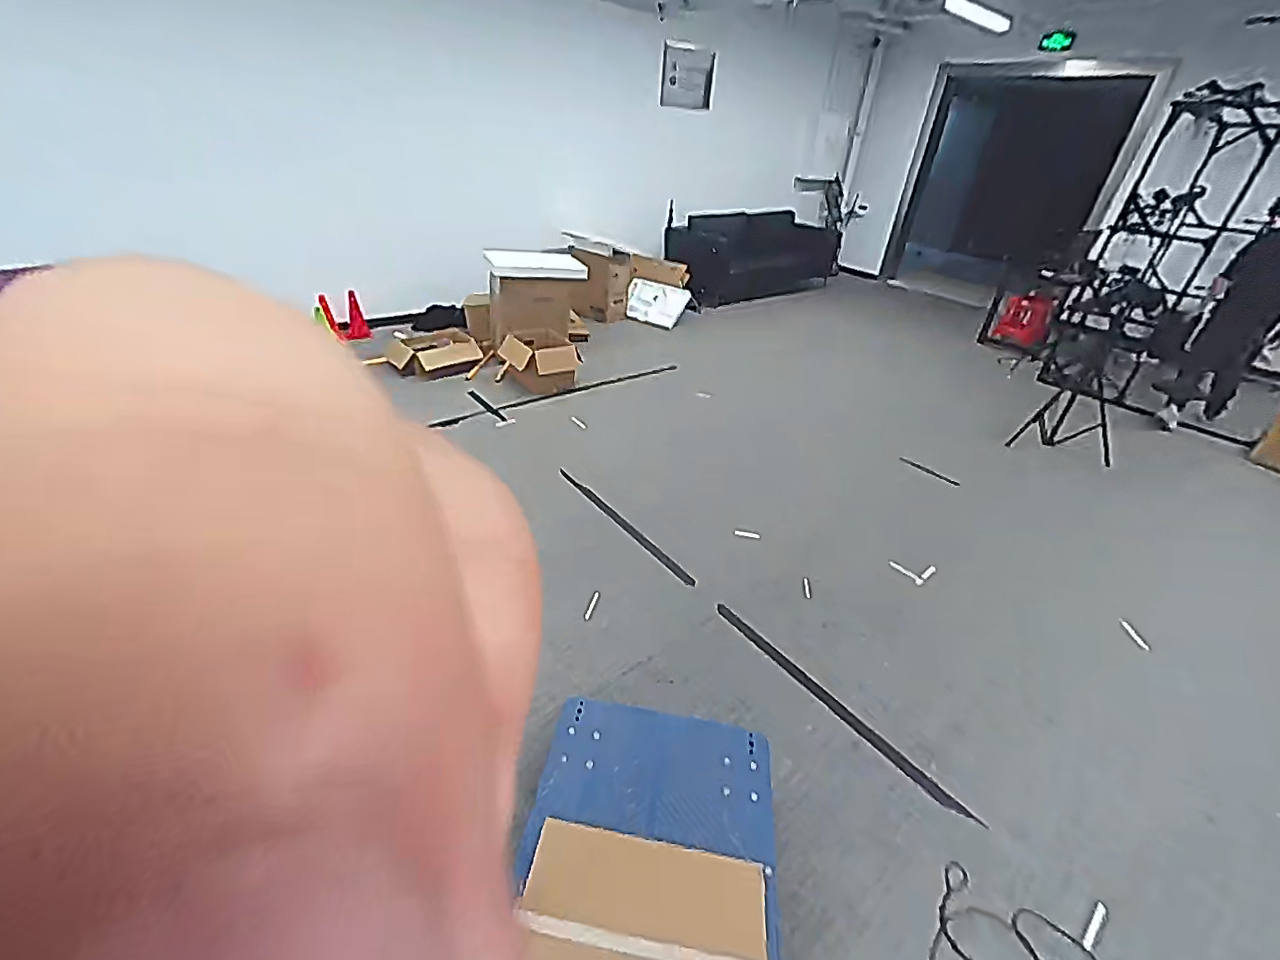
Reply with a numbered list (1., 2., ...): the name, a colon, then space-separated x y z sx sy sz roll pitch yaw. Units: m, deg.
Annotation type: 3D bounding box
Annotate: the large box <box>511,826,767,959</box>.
1. large box: -0.012 0.865 0.931 0.408 0.320 0.320 9 34 4
